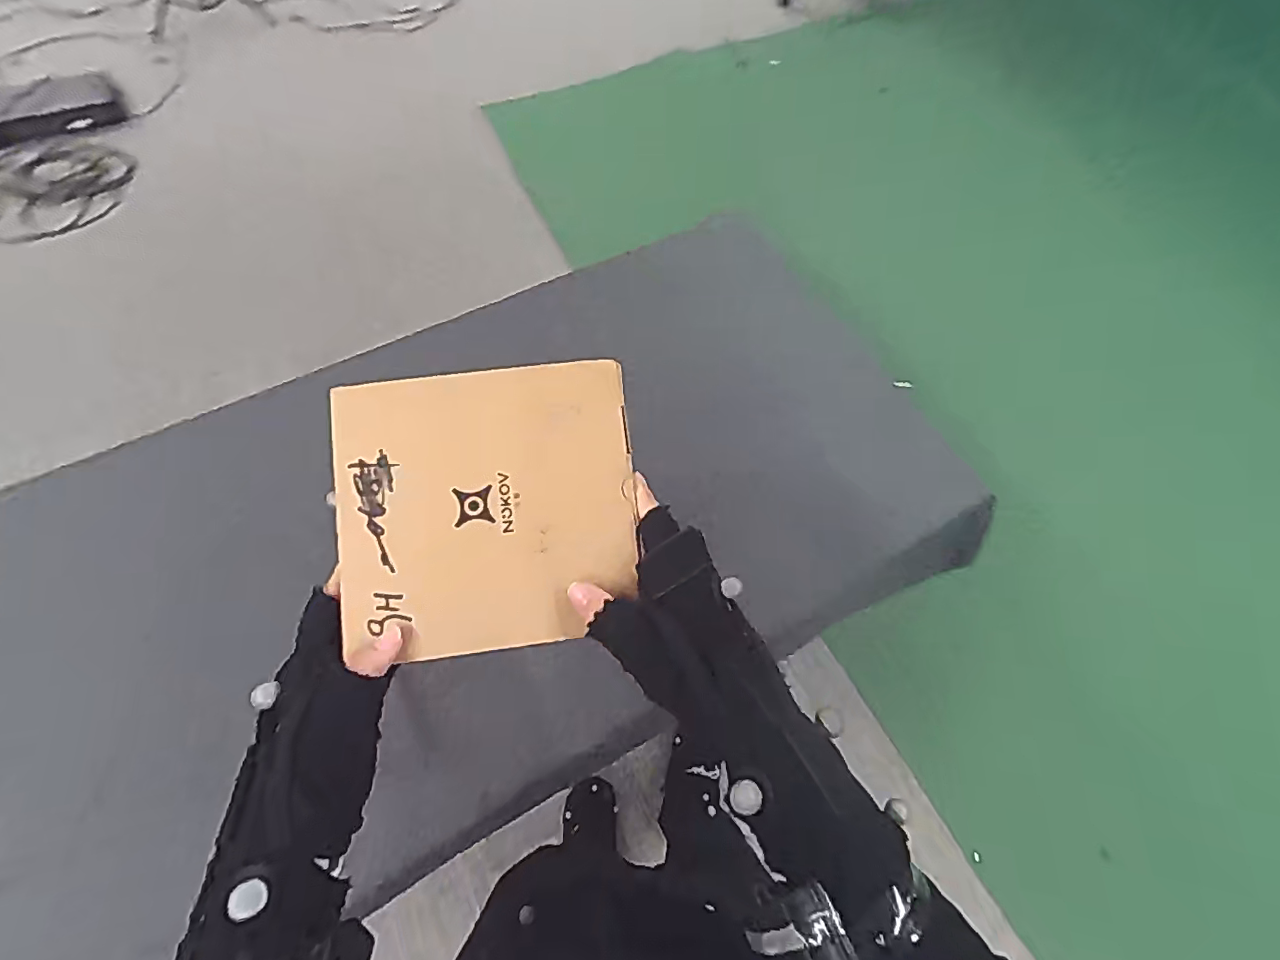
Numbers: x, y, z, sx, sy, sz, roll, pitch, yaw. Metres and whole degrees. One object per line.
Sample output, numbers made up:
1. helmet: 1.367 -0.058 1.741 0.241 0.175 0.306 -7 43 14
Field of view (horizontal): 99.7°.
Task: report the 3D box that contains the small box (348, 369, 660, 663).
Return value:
1. small box: -0.088 0.028 0.400 0.179 0.176 0.168 -5 81 -5
